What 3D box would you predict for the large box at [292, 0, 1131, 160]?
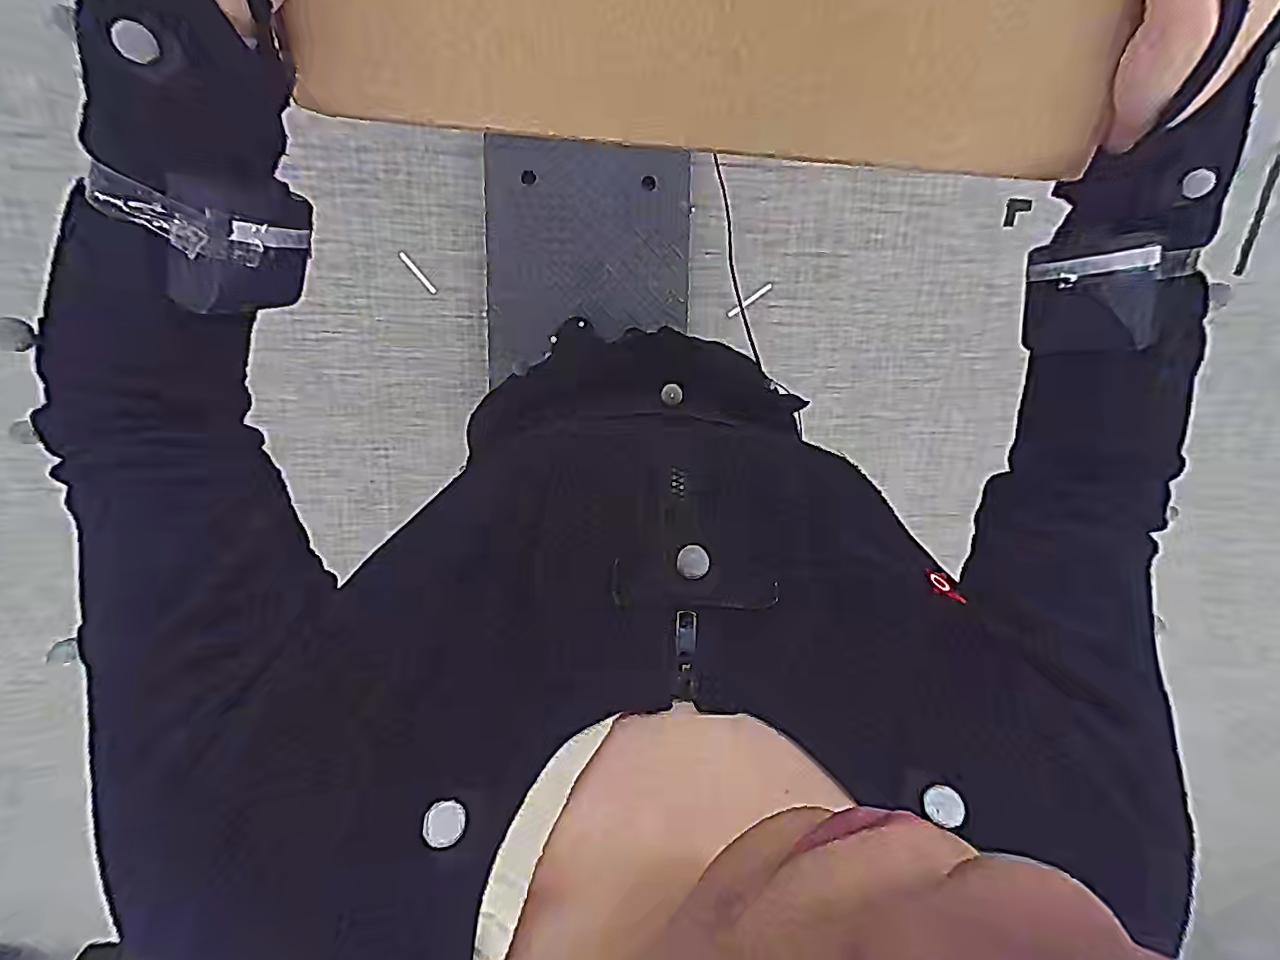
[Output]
[{"bbox_3d":[0.035,-0.389,0.320,0.408,0.320,0.320,1,125,-7],"label":"large box"}]
